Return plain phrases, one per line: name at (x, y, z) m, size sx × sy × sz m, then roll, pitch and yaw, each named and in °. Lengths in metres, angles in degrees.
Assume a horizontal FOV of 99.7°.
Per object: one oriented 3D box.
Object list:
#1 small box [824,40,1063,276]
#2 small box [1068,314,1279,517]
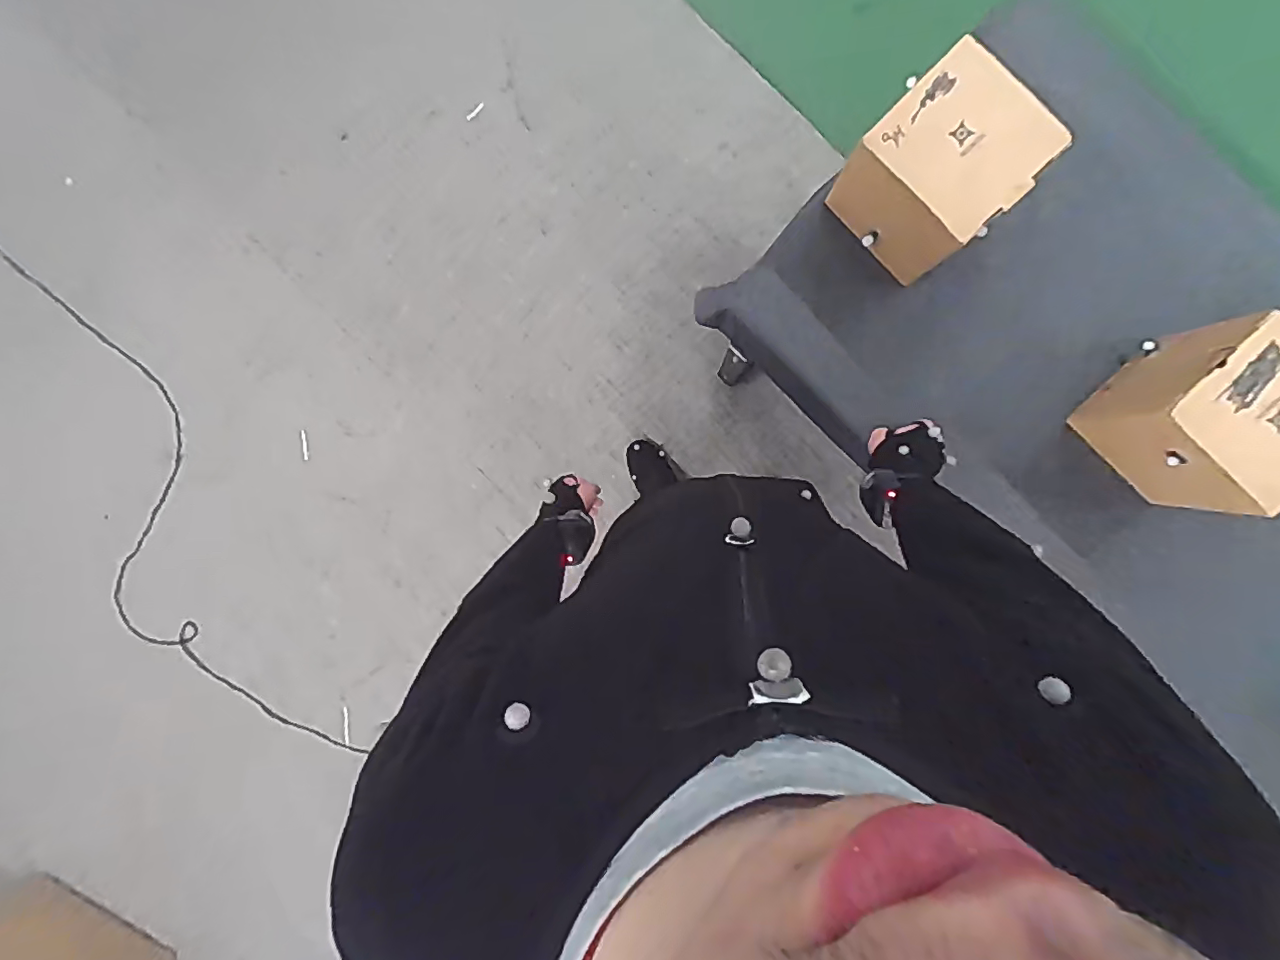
small box at (0.373, -0.391, 0.701) m, size 0.168 × 0.176 × 0.179 m, roll -44°, pitch 91°, yaw 5°
small box at (0.718, -0.076, 0.694) m, size 0.168 × 0.176 × 0.179 m, roll -45°, pitch 91°, yaw 6°
